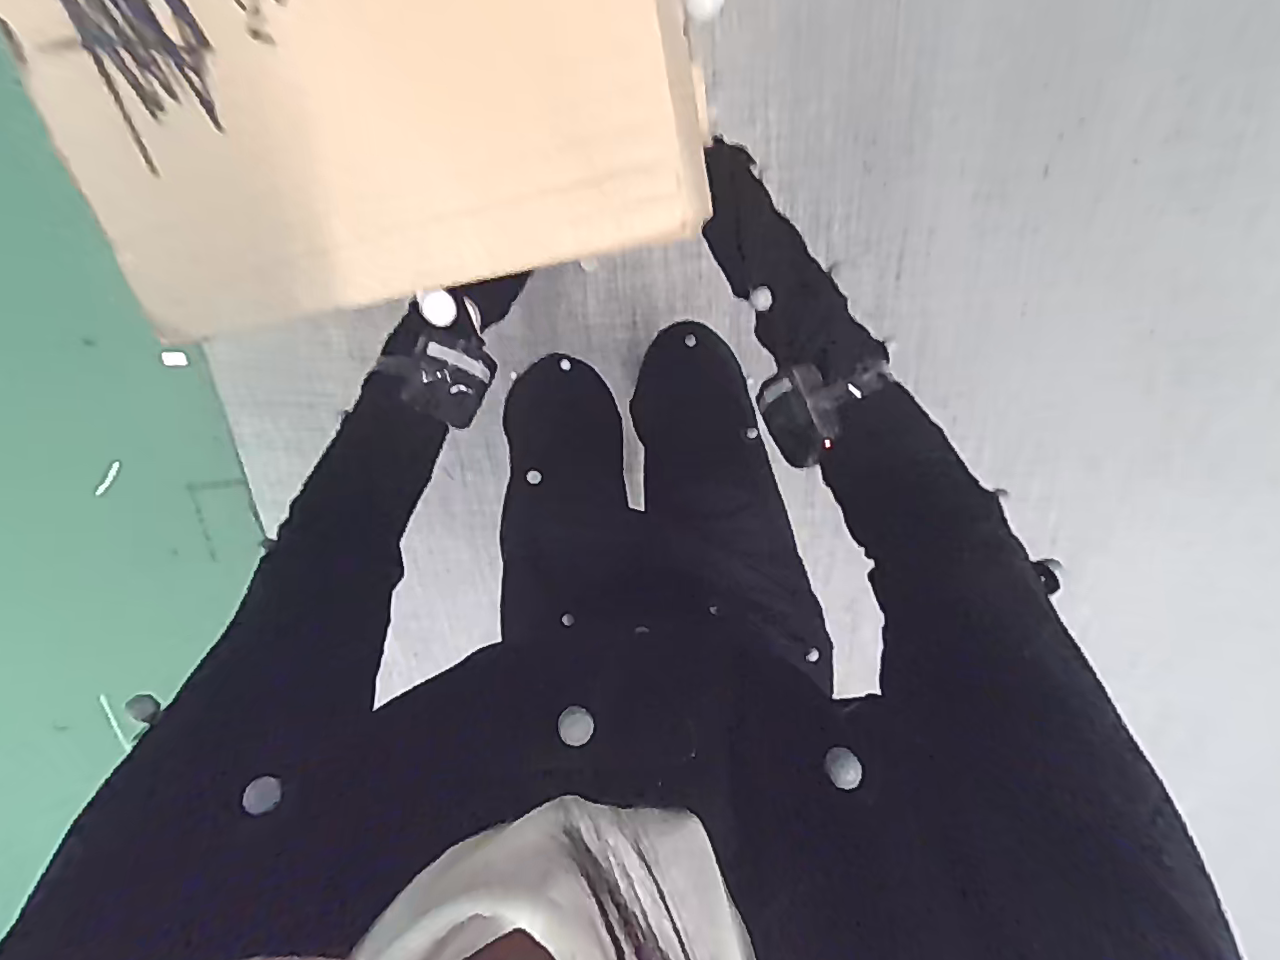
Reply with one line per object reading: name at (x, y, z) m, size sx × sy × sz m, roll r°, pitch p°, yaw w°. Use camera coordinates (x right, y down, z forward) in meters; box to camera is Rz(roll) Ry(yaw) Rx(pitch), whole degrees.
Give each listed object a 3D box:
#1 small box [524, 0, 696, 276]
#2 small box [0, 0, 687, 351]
small box at (-0.060, -0.229, 0.335) m, size 0.168 × 0.176 × 0.179 m, roll -5°, pitch 118°, yaw 13°
small box at (-0.087, -0.156, 0.190) m, size 0.179 × 0.176 × 0.168 m, roll -7°, pitch 116°, yaw 13°
